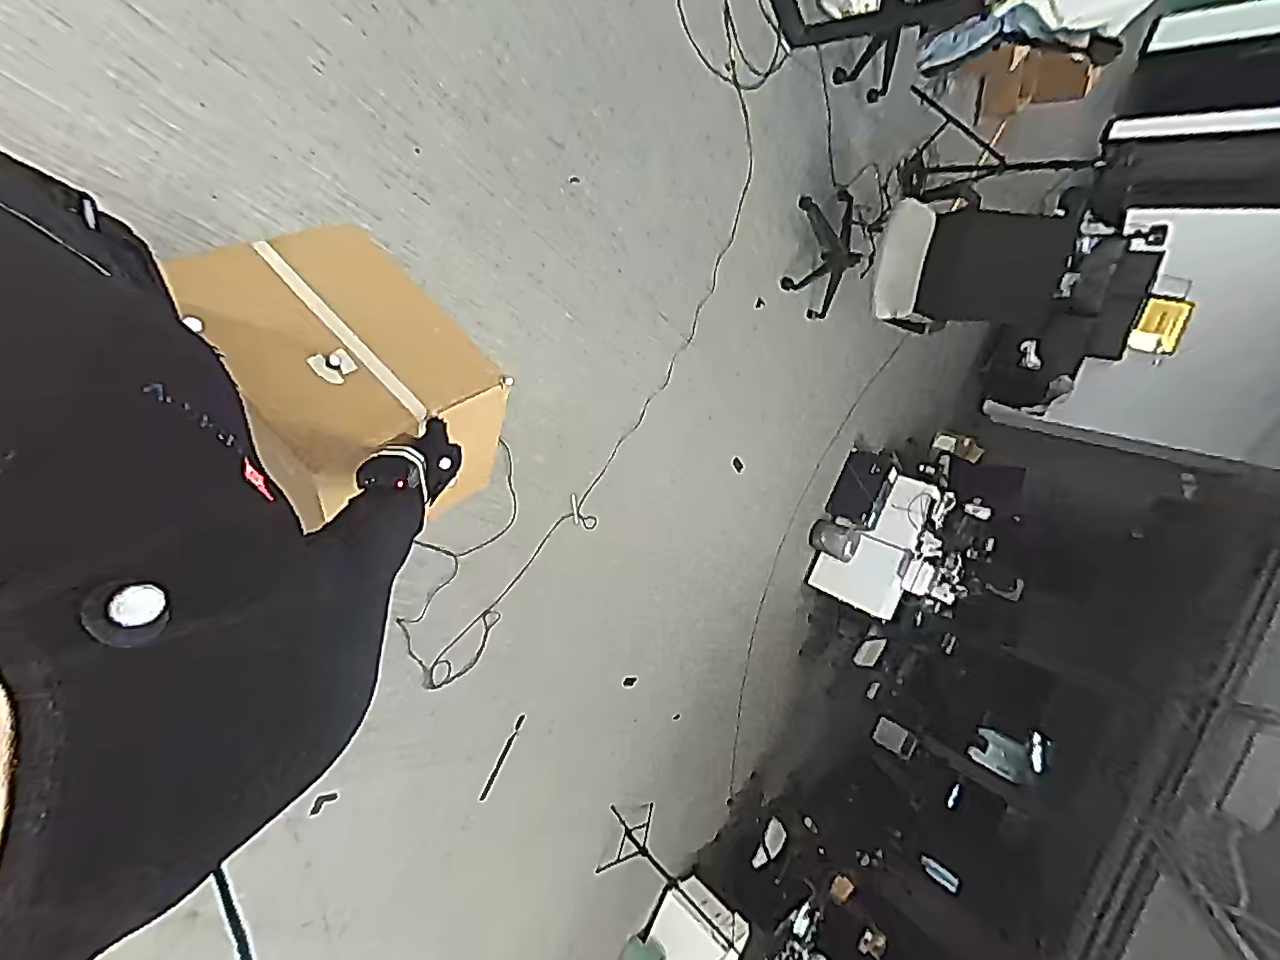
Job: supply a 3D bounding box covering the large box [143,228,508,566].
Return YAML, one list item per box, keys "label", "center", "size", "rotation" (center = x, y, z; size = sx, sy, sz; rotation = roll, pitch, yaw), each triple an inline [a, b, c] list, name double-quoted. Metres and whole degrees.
- label: "large box"
  center: [-0.493, -0.139, 0.902]
  size: [0.320, 0.408, 0.320]
  rotation: [-38, 168, -37]
